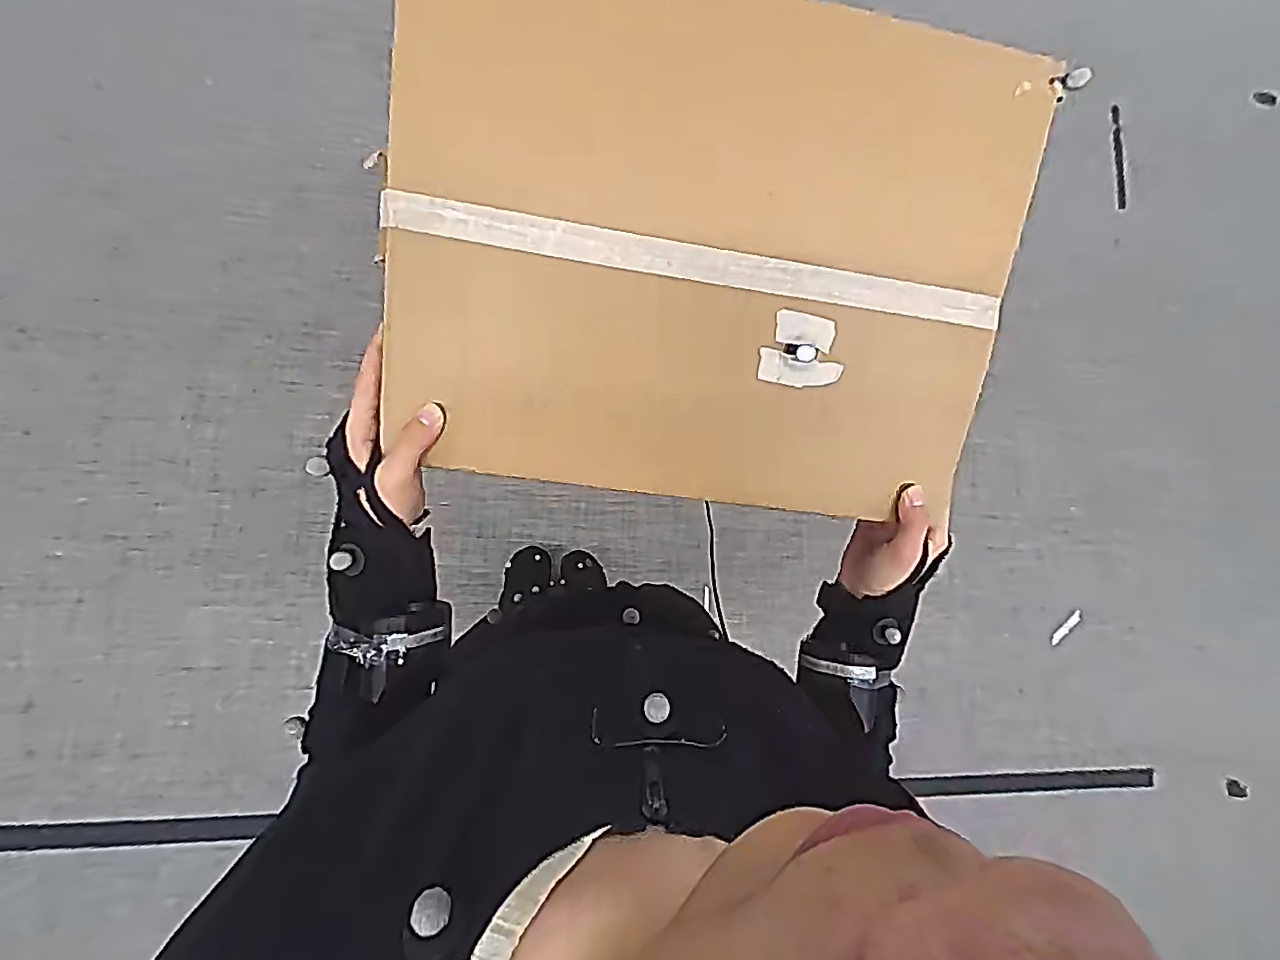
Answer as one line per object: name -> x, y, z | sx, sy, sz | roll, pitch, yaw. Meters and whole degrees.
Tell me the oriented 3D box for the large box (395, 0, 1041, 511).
large box -> 0.030, -0.175, 0.499 | 0.408, 0.320, 0.320 | 6, 103, -8
